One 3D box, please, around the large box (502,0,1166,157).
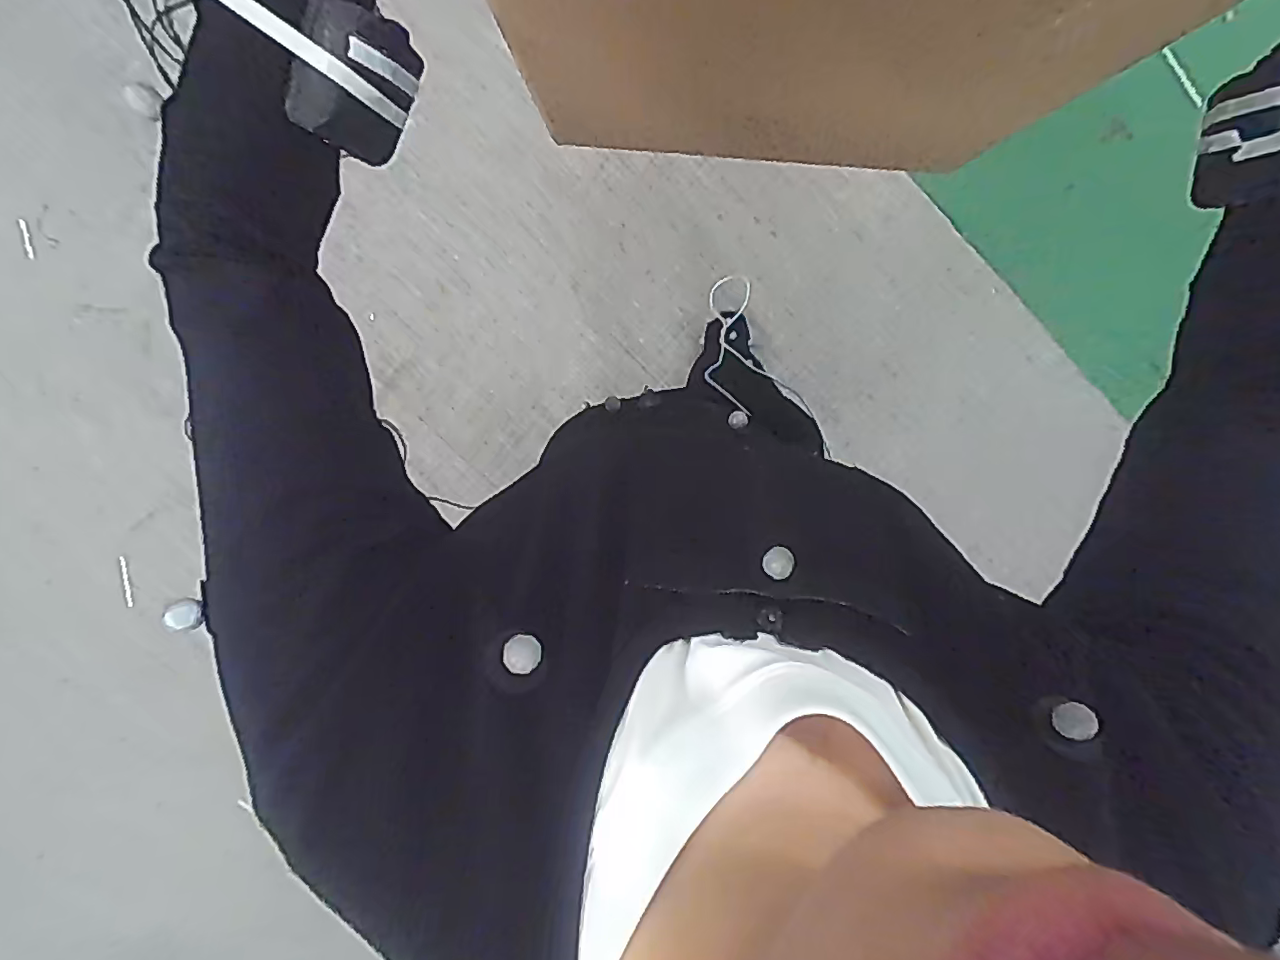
[{"bbox_3d":[0.114,-0.448,0.368,0.408,0.320,0.320,3,104,-1],"label":"large box"}]
